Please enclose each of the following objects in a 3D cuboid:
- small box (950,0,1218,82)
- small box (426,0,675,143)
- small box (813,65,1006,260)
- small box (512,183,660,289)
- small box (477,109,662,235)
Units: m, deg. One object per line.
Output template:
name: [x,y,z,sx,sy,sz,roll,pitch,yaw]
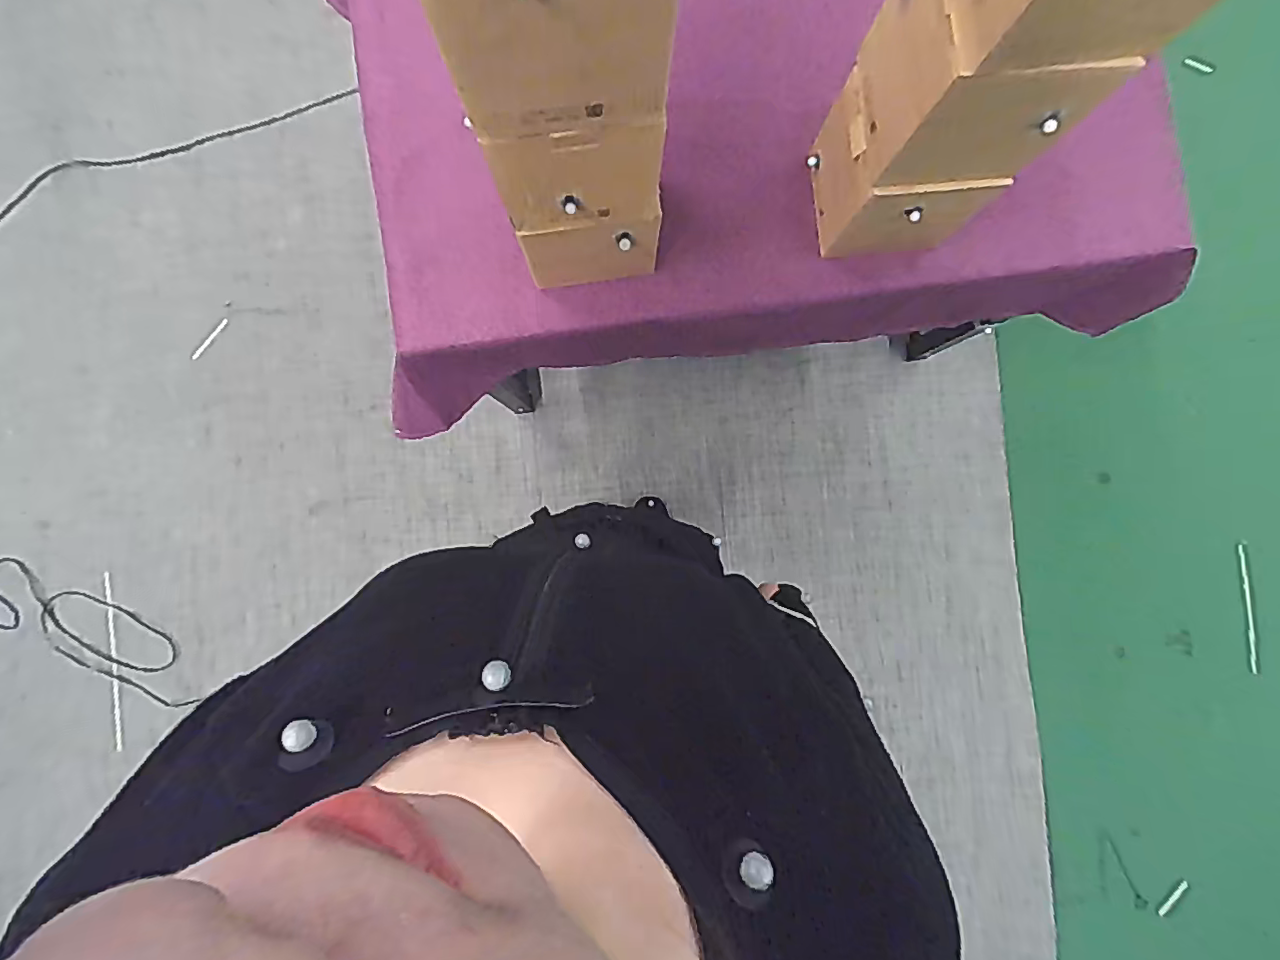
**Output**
small box: [0.364,-0.443,0.405,0.179,0.176,0.168,-7,88,-2]
small box: [-0.069,-0.388,0.393,0.168,0.176,0.179,-7,88,-2]
small box: [0.346,-0.414,0.732,0.179,0.176,0.168,-5,88,-2]
small box: [-0.075,-0.373,0.720,0.179,0.176,0.168,-8,88,-2]
small box: [-0.075,-0.383,0.557,0.168,0.176,0.179,-8,89,-2]
